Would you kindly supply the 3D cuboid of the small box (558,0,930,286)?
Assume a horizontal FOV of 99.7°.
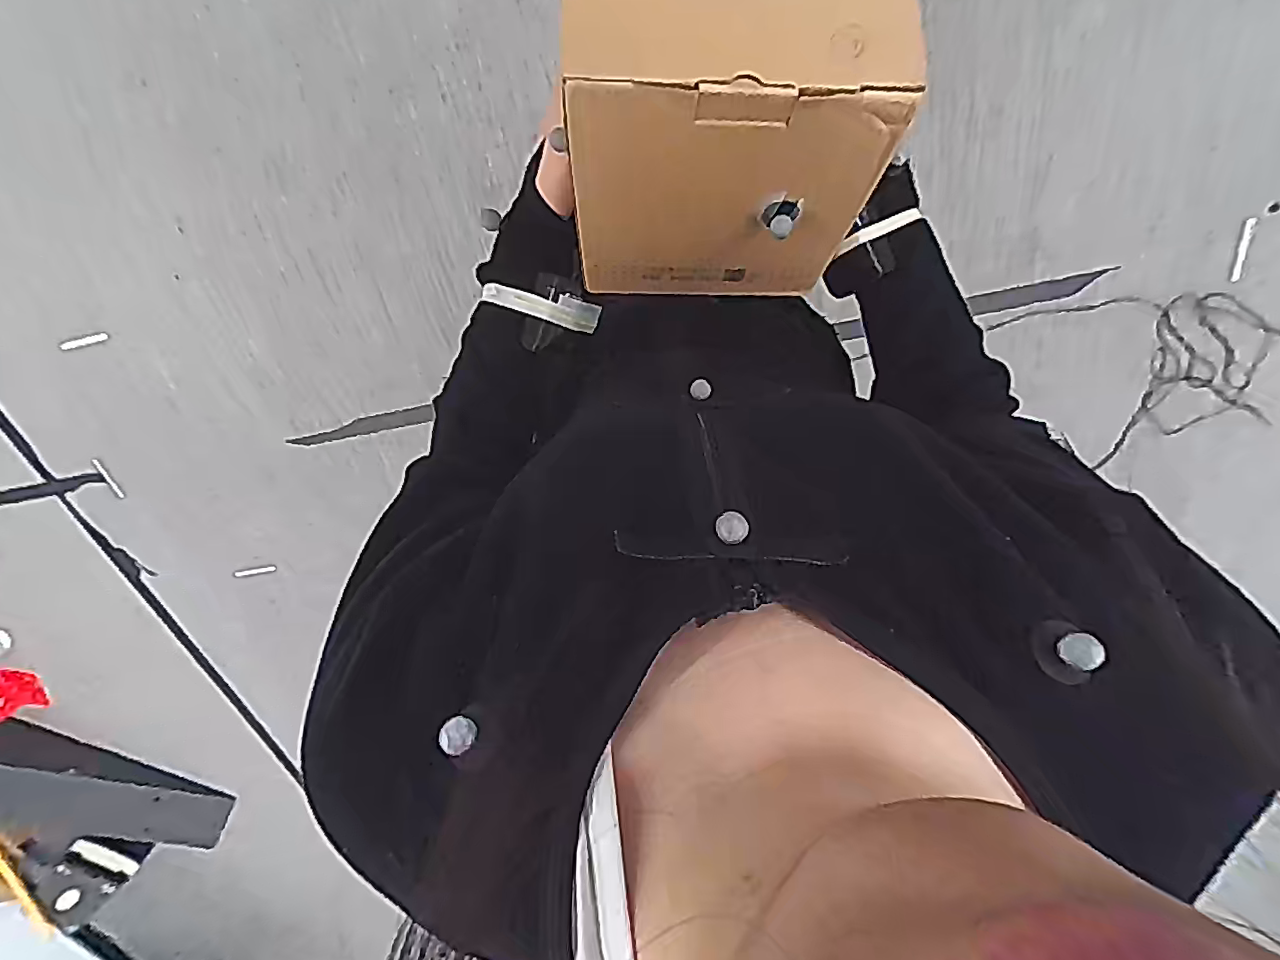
[{"bbox_3d":[0.044,-0.239,0.330,0.168,0.176,0.179,1,77,-3],"label":"small box"}]
